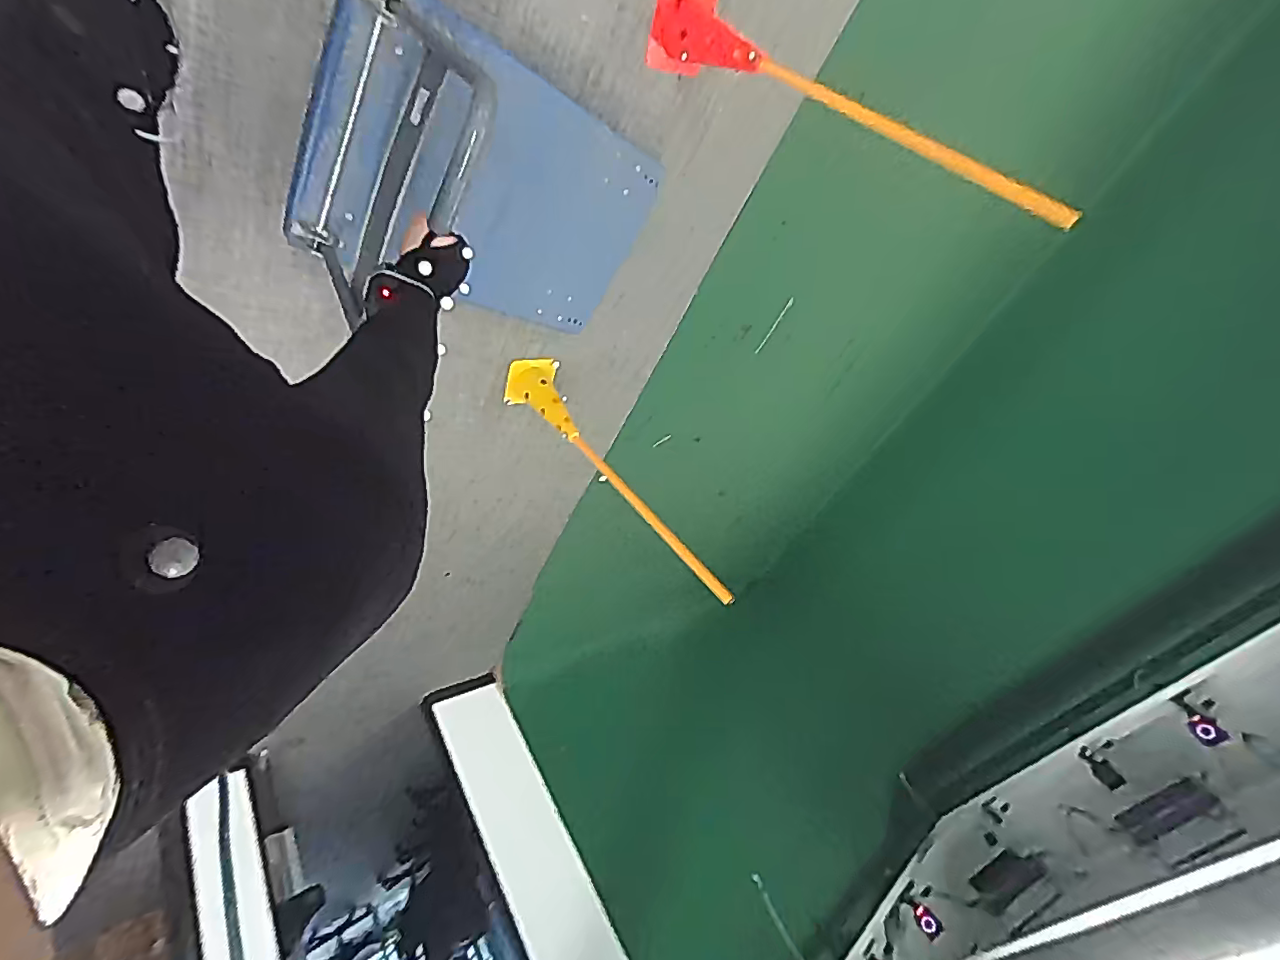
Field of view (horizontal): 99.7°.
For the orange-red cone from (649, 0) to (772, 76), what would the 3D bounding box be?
[{"bbox_3d":[0.213,-1.140,1.413,0.198,0.360,0.199,-16,142,-34],"label":"orange-red cone"}]
